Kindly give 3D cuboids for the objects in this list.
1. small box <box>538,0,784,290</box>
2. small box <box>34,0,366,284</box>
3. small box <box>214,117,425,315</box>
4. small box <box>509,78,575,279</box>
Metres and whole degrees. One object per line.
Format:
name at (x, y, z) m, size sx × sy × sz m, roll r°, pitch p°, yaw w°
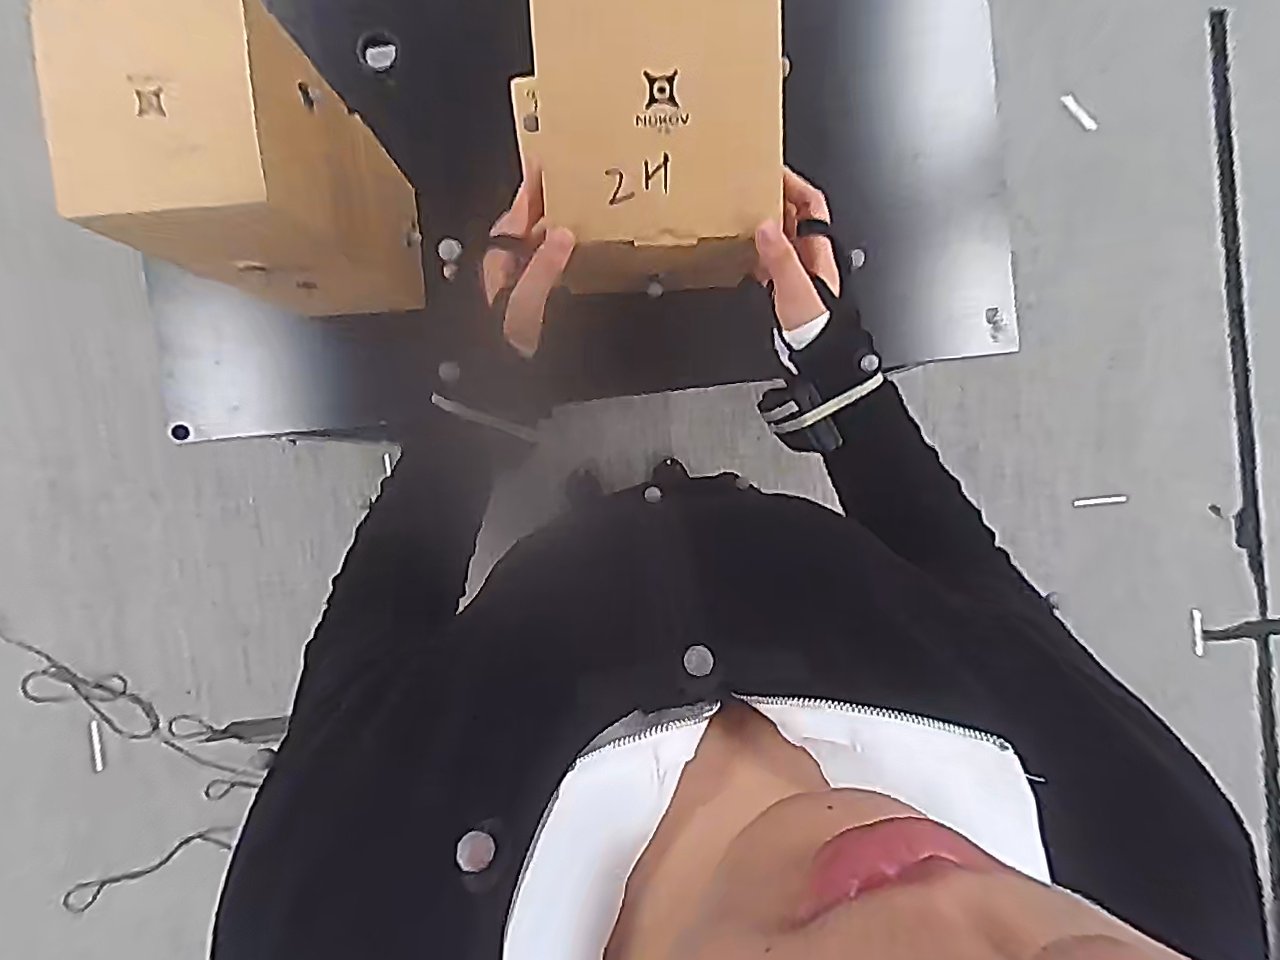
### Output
small box at (0.012, -0.266, 0.441) m, size 0.168 × 0.176 × 0.179 m, roll -3°, pitch 98°, yaw -1°
small box at (-0.384, -0.304, 0.506) m, size 0.168 × 0.176 × 0.179 m, roll -6°, pitch 93°, yaw 0°
small box at (-0.387, -0.311, 0.668) m, size 0.179 × 0.176 × 0.168 m, roll -5°, pitch 92°, yaw -3°
small box at (-0.055, -0.367, 0.680) m, size 0.168 × 0.176 × 0.179 m, roll -8°, pitch 92°, yaw -1°
